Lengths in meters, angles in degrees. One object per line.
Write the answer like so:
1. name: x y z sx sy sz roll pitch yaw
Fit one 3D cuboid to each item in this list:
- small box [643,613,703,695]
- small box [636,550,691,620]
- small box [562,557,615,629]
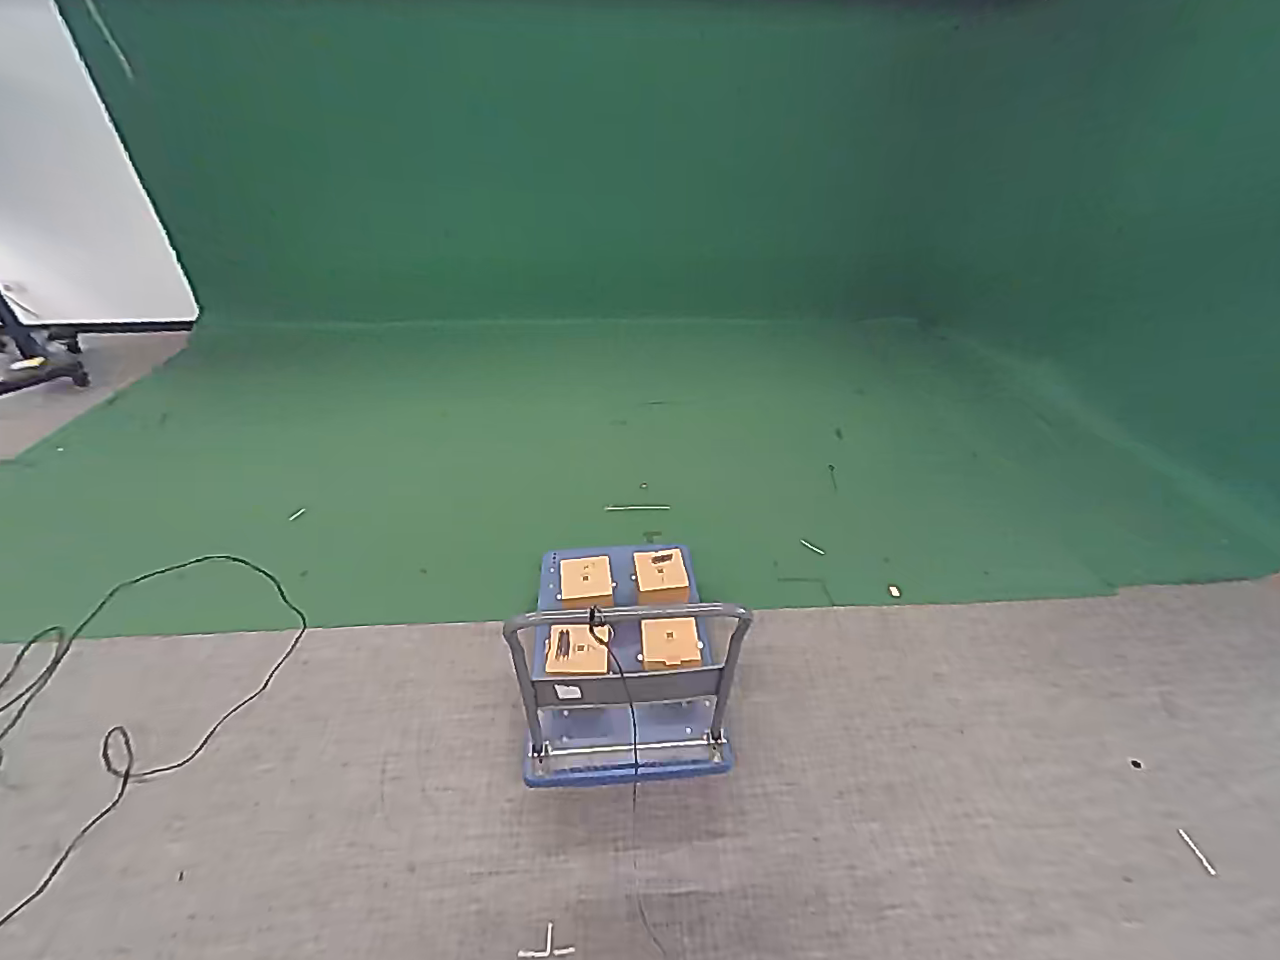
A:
1. small box: 0.094 0.528 1.641 0.168 0.176 0.179 -2 38 -2
2. small box: 0.076 0.365 1.855 0.168 0.176 0.179 -5 38 -6
3. small box: -0.173 0.387 1.827 0.168 0.176 0.179 -4 37 -7
